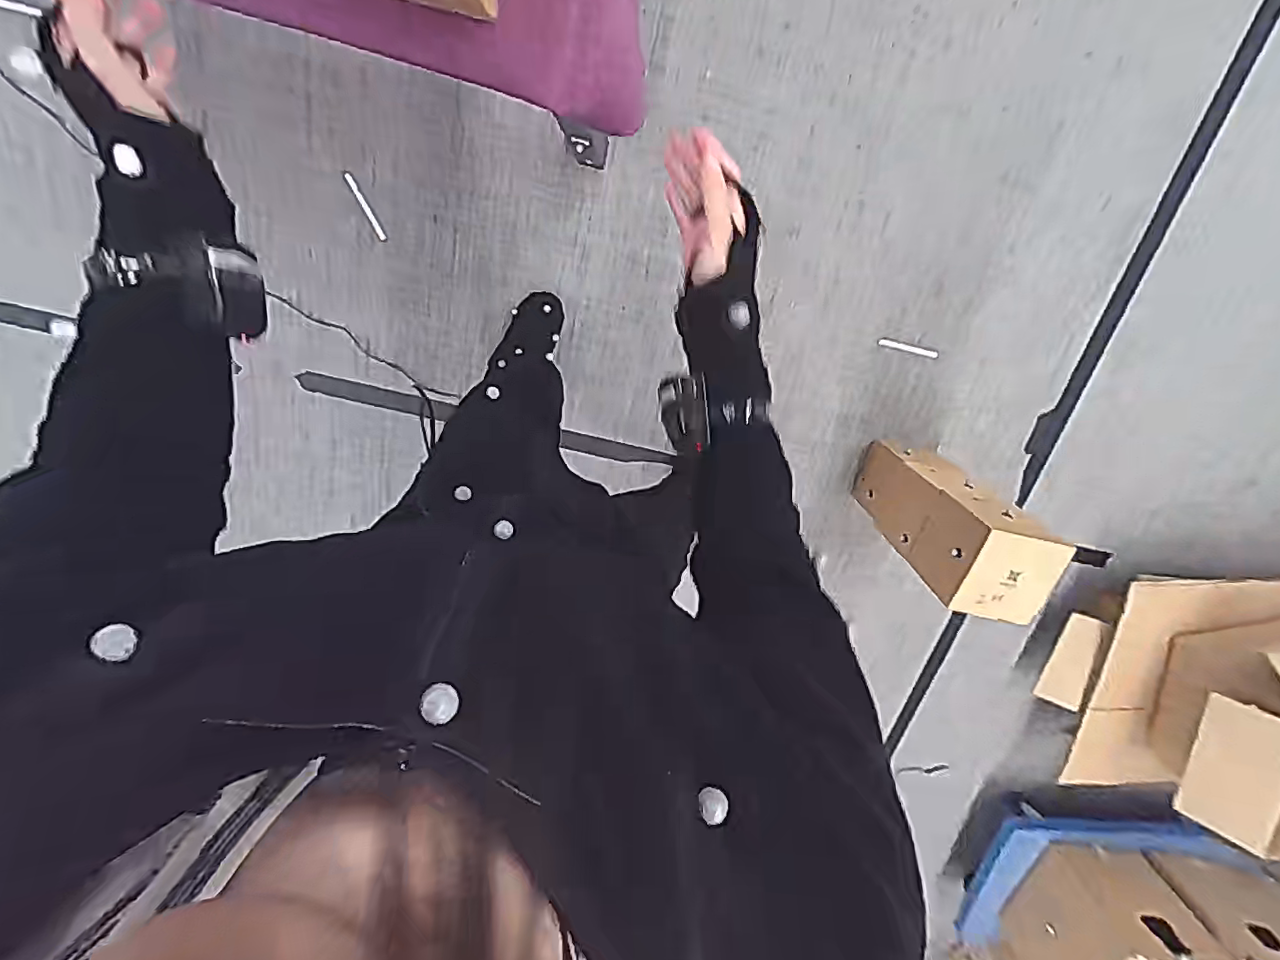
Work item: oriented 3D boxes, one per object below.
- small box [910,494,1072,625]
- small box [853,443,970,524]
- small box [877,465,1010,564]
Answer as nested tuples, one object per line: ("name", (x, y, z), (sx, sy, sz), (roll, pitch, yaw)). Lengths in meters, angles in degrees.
("small box", (0.661, 0.147, 1.045), (0.168, 0.176, 0.179), (13, 114, -6))
("small box", (0.662, 0.019, 1.347), (0.179, 0.176, 0.168), (11, 113, -7))
("small box", (0.657, 0.083, 1.198), (0.168, 0.176, 0.179), (12, 113, -6))
